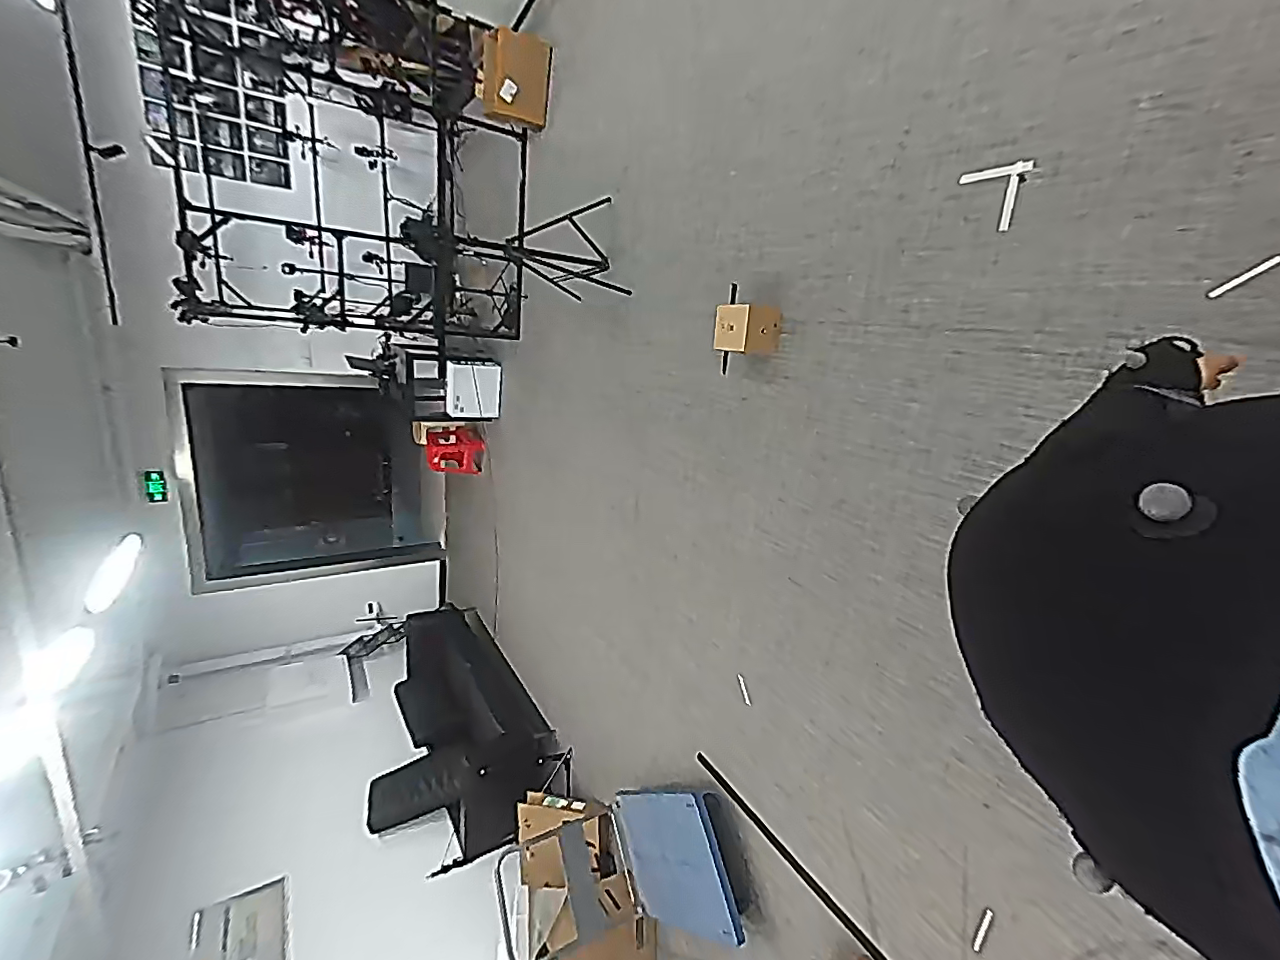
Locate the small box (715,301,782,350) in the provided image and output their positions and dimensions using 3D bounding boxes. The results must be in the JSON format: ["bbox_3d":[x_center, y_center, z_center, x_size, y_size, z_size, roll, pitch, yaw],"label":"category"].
[{"bbox_3d":[0.410,-0.579,2.032,0.179,0.176,0.168,25,115,55],"label":"small box"}]
